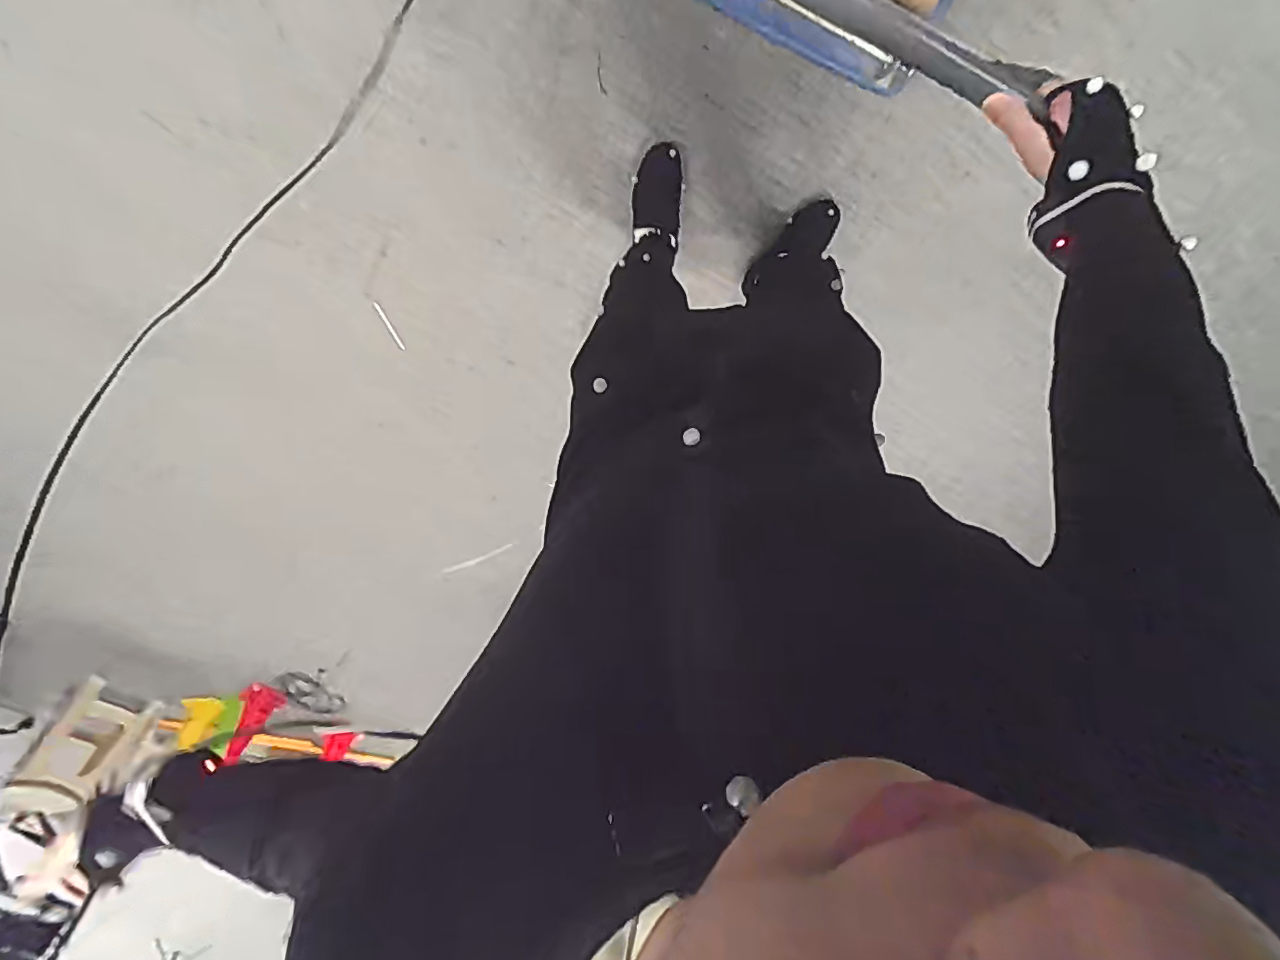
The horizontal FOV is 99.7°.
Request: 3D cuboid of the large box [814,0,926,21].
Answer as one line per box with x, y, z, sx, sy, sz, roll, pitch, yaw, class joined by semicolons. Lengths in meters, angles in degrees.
0.330;-0.953;0.749;0.320;0.320;0.408;17;125;-14;large box
